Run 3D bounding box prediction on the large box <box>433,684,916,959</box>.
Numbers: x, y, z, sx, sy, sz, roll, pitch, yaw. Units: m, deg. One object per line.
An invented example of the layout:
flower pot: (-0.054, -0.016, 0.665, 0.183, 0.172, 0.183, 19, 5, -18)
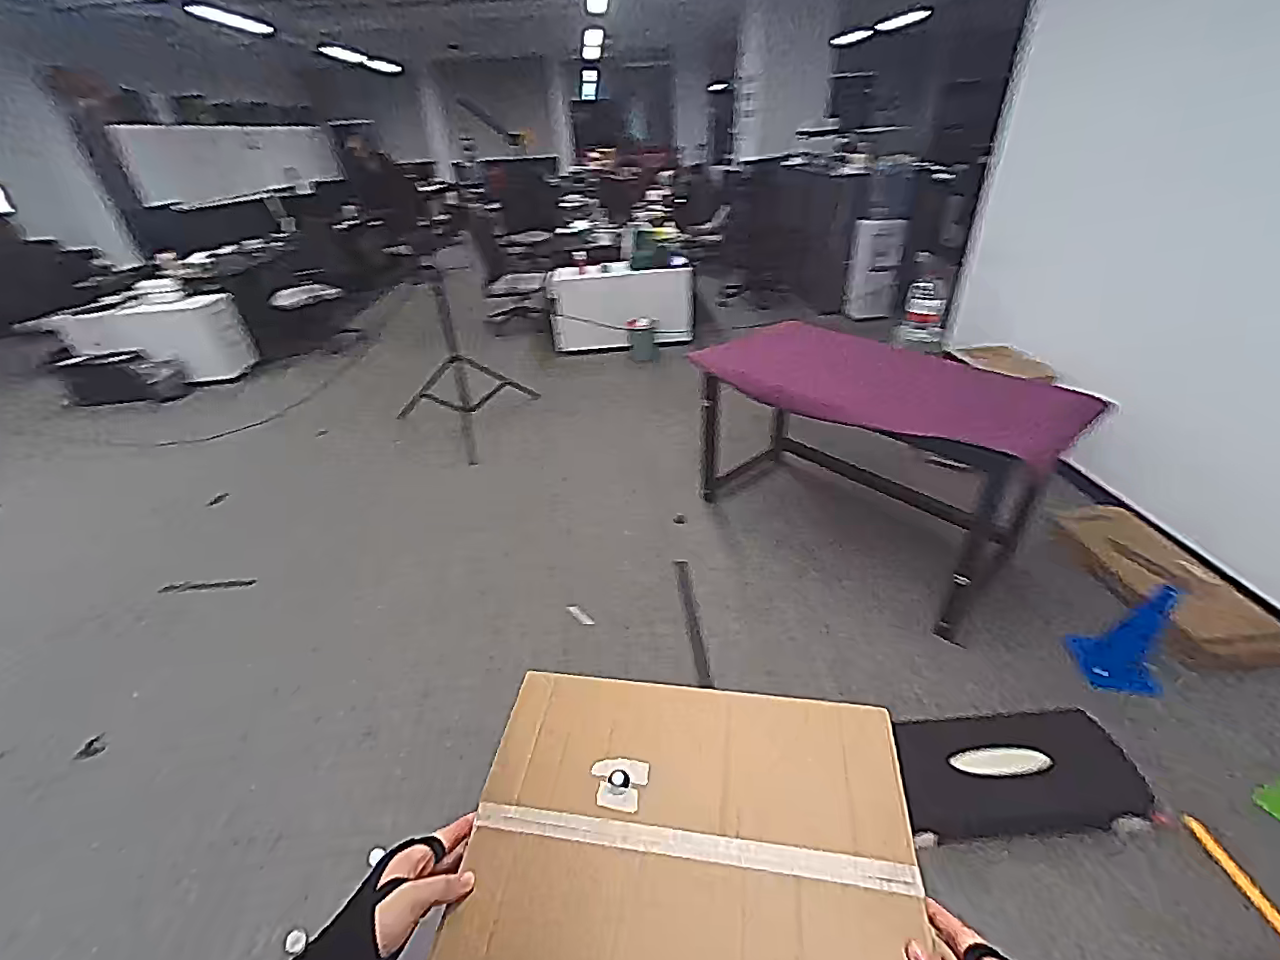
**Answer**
large box: (0.049, 0.455, 0.598, 0.408, 0.320, 0.320, 0, 39, 10)
